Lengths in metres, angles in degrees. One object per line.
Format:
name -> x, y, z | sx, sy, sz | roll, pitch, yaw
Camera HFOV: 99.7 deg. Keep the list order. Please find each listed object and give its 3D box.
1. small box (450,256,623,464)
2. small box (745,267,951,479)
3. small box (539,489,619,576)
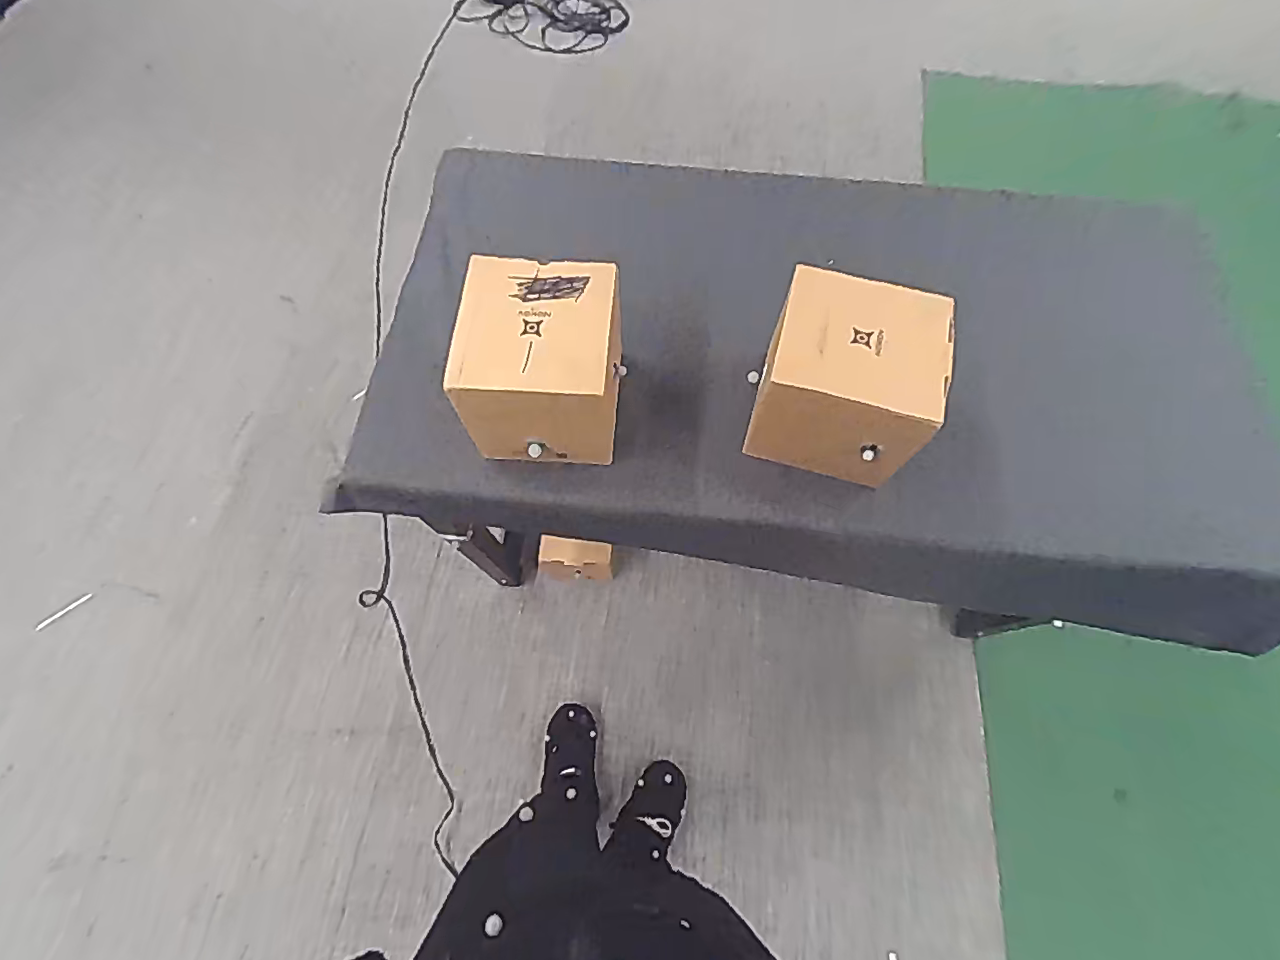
small box -> -0.108, -0.137, 0.649 | 0.168, 0.176, 0.179 | 3, 67, 1
small box -> 0.238, -0.117, 0.647 | 0.179, 0.176, 0.168 | 14, 67, 7
small box -> -0.142, 0.135, 1.329 | 0.168, 0.176, 0.179 | 3, 68, 1
